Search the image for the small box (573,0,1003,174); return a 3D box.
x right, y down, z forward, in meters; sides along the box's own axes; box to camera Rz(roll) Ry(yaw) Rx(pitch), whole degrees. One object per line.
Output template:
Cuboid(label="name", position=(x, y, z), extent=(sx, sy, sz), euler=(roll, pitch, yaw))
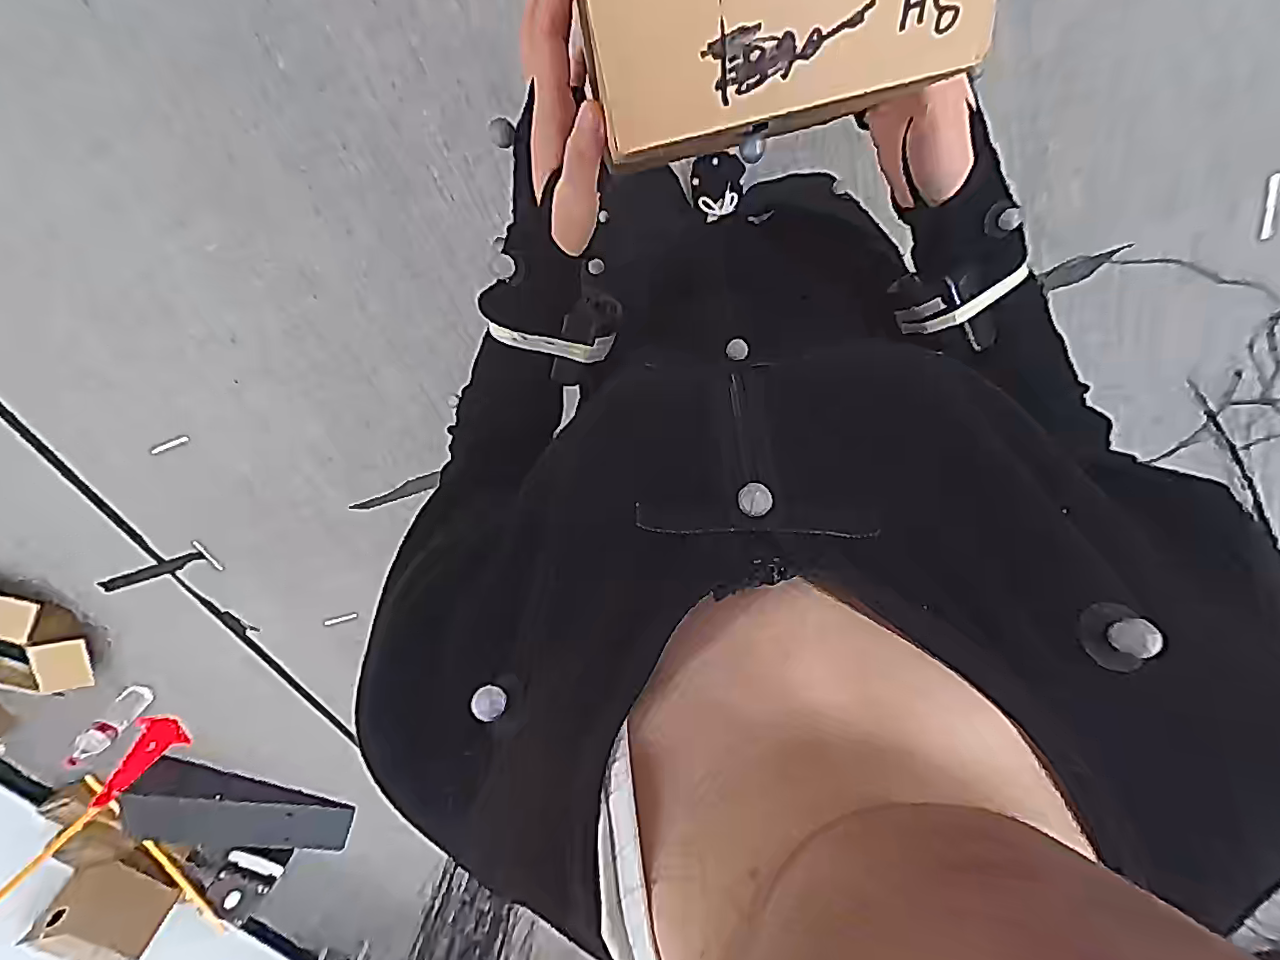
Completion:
Cuboid(label="small box", position=(0.046, -0.268, 0.262), extent=(0.168, 0.176, 0.179), euler=(-13, 117, 3))

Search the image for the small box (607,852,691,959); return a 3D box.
Cuboid(label="small box", position=(0.028, 1.047, 1.326), extent=(0.168, 0.176, 0.179), euler=(-12, 120, 10))
